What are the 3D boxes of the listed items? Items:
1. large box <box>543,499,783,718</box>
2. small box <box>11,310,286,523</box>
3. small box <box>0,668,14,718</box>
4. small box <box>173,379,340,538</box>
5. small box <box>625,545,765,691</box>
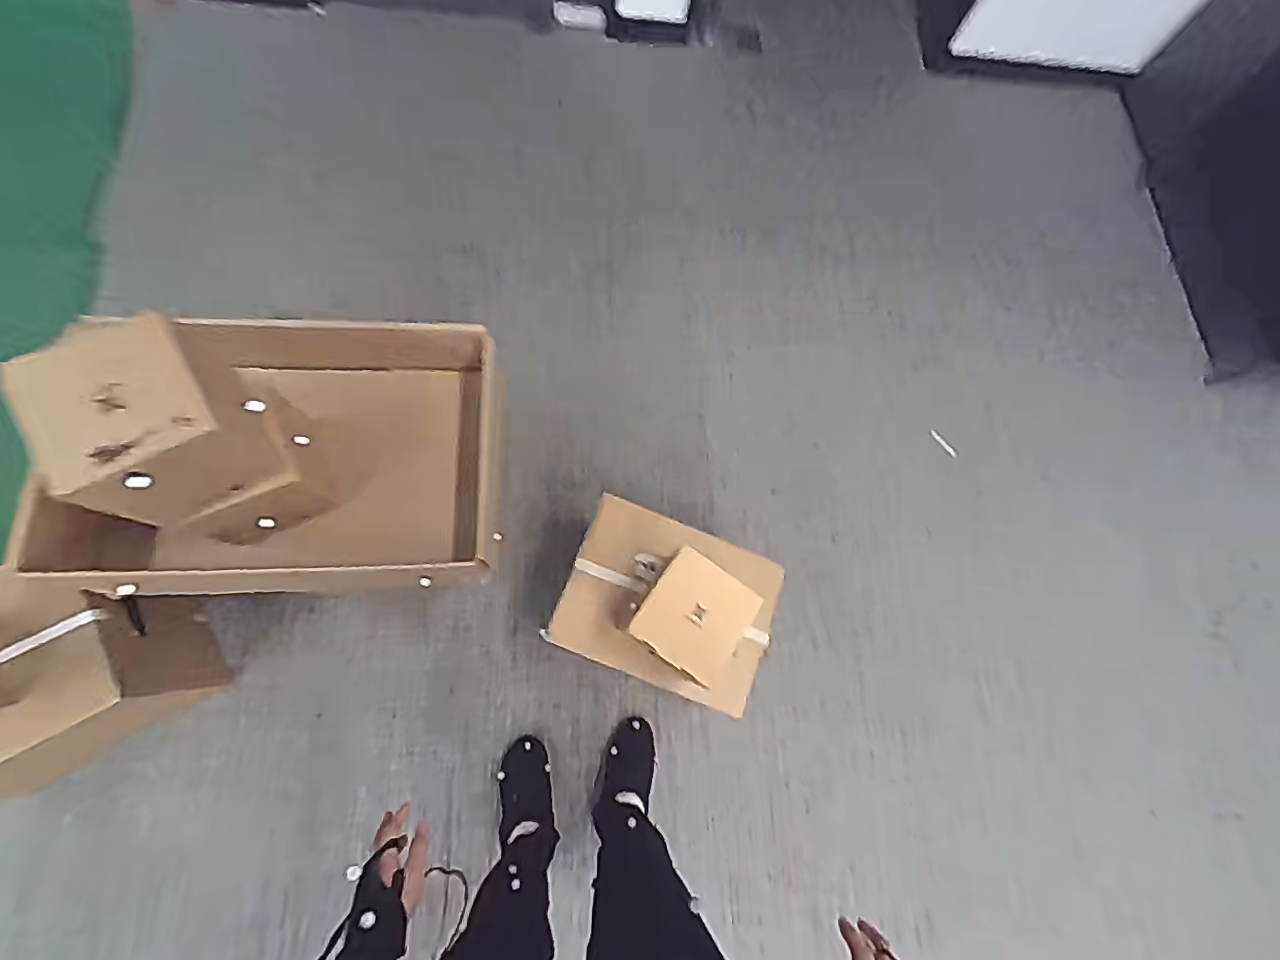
[{"bbox_3d":[0.042,0.283,1.191,0.408,0.320,0.320,22,71,1],"label":"large box"},{"bbox_3d":[-0.592,-0.069,0.676,0.168,0.176,0.179,-29,79,-14],"label":"small box"},{"bbox_3d":[-1.099,0.311,0.782,0.168,0.176,0.179,-32,80,-14],"label":"small box"},{"bbox_3d":[-0.596,-0.021,0.833,0.168,0.176,0.179,-23,78,-14],"label":"small box"},{"bbox_3d":[0.086,0.240,0.952,0.168,0.176,0.179,35,74,3],"label":"small box"}]
